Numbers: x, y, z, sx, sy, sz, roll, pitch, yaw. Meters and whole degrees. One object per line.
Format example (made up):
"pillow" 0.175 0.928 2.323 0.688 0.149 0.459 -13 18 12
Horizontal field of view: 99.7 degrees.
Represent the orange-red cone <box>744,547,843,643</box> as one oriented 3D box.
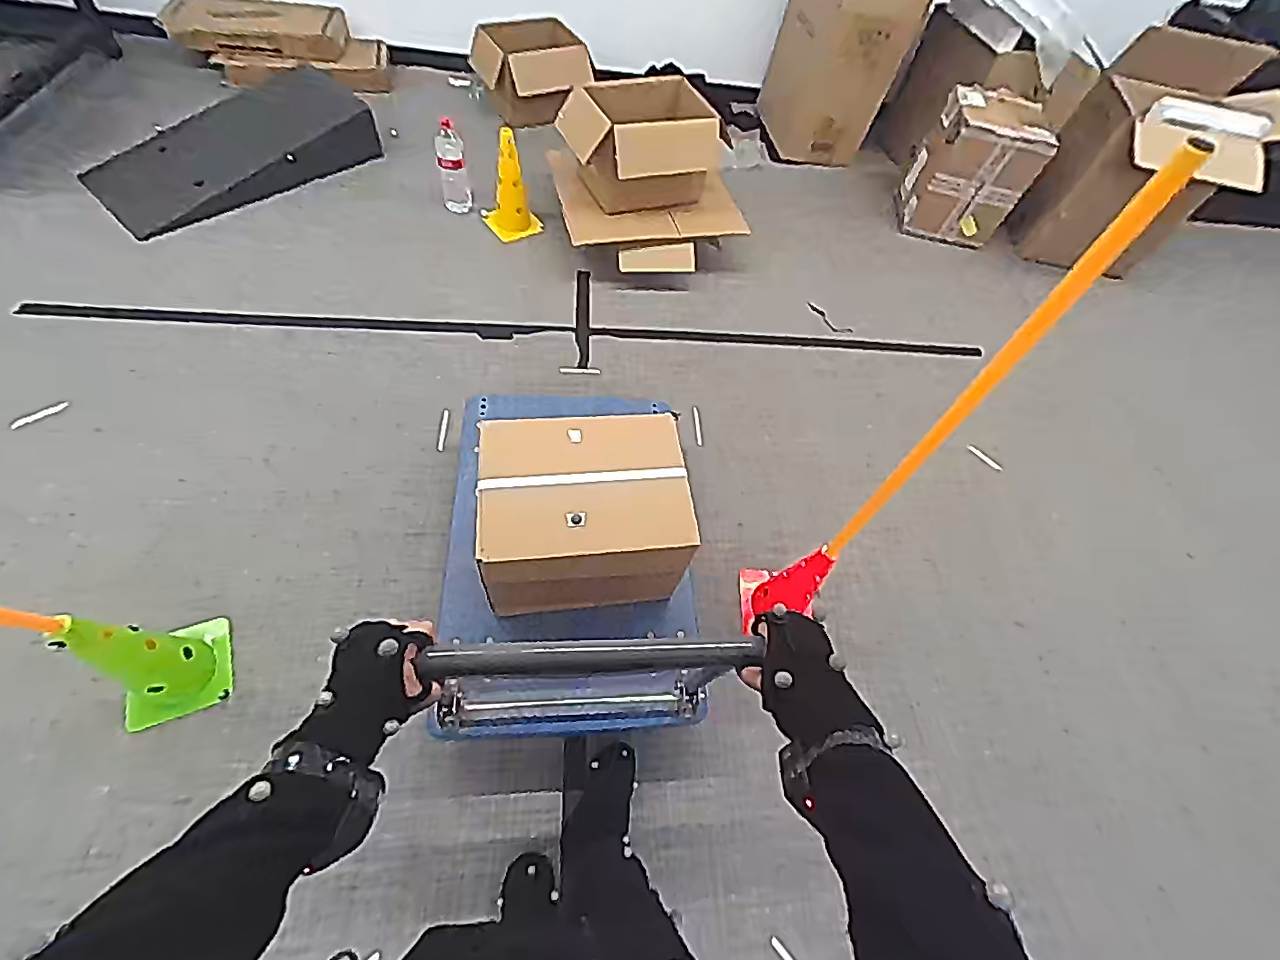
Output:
"orange-red cone" 0.403 0.251 1.324 0.199 0.360 0.198 7 58 -5
